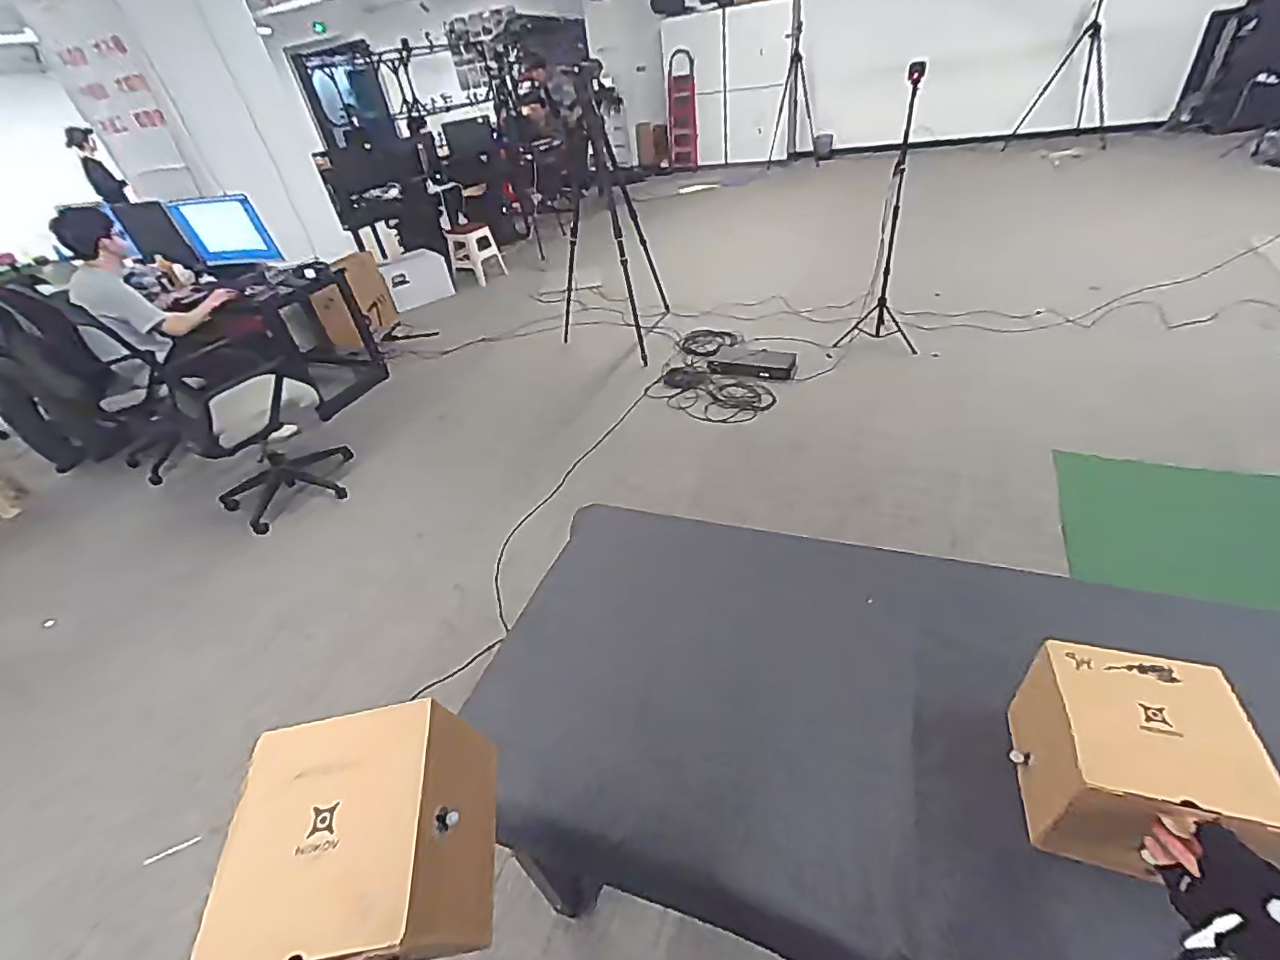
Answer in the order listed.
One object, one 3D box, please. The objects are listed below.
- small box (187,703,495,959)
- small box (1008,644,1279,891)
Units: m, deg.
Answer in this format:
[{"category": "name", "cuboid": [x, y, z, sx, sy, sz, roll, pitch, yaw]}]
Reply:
[{"category": "small box", "cuboid": [-0.240, 0.329, 0.487, 0.168, 0.176, 0.179, -12, 48, 1]}, {"category": "small box", "cuboid": [0.543, 0.321, 0.611, 0.168, 0.176, 0.179, 7, 40, 19]}]
